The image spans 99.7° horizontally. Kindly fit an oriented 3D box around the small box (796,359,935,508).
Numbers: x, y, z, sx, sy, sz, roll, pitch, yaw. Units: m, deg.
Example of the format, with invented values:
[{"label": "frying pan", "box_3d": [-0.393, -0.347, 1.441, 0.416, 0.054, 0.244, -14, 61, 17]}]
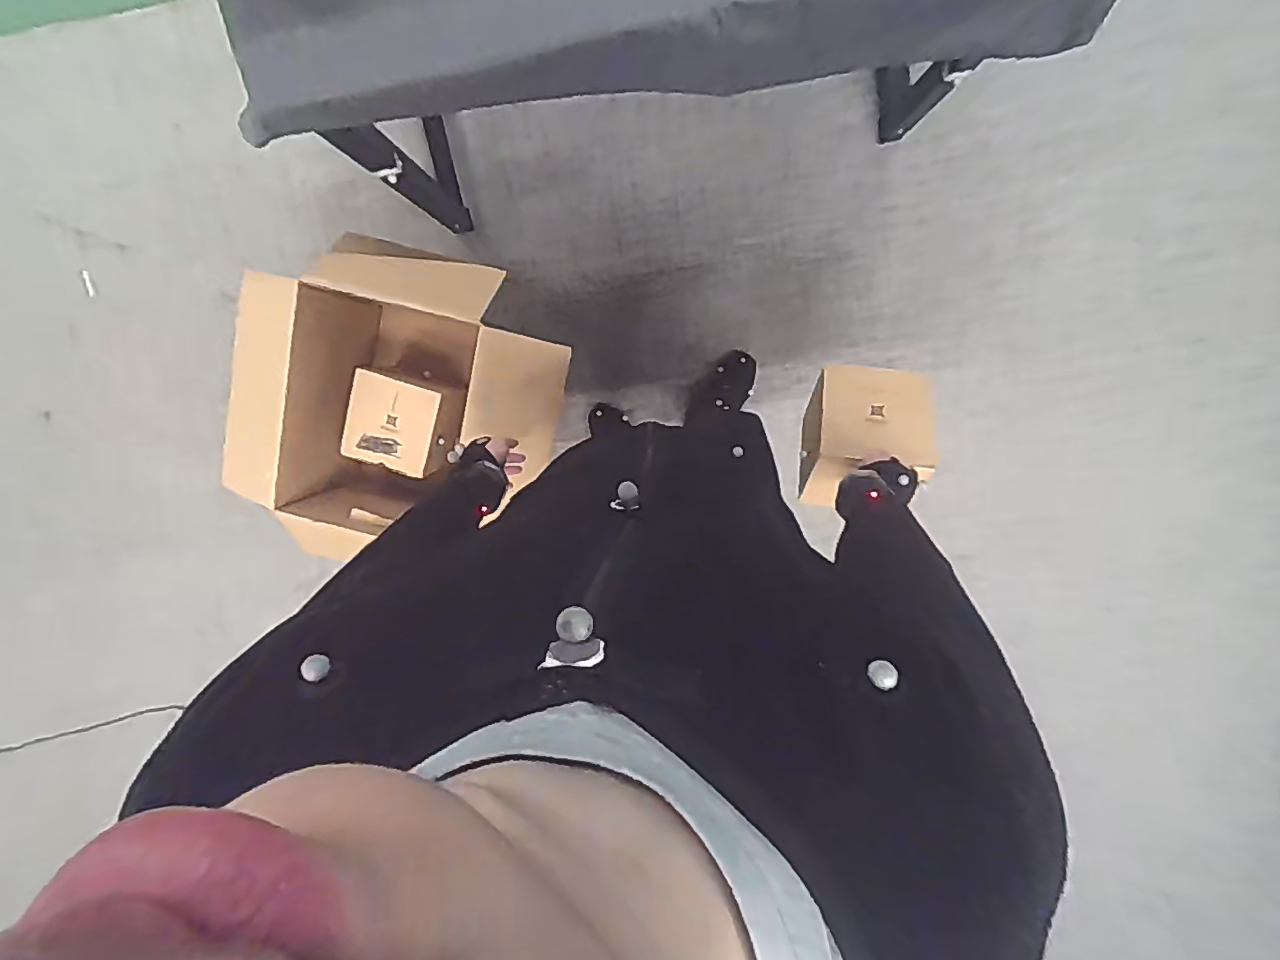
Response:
[{"label": "small box", "box_3d": [0.358, -0.069, 0.885, 0.168, 0.176, 0.179, 8, 63, 6]}]
